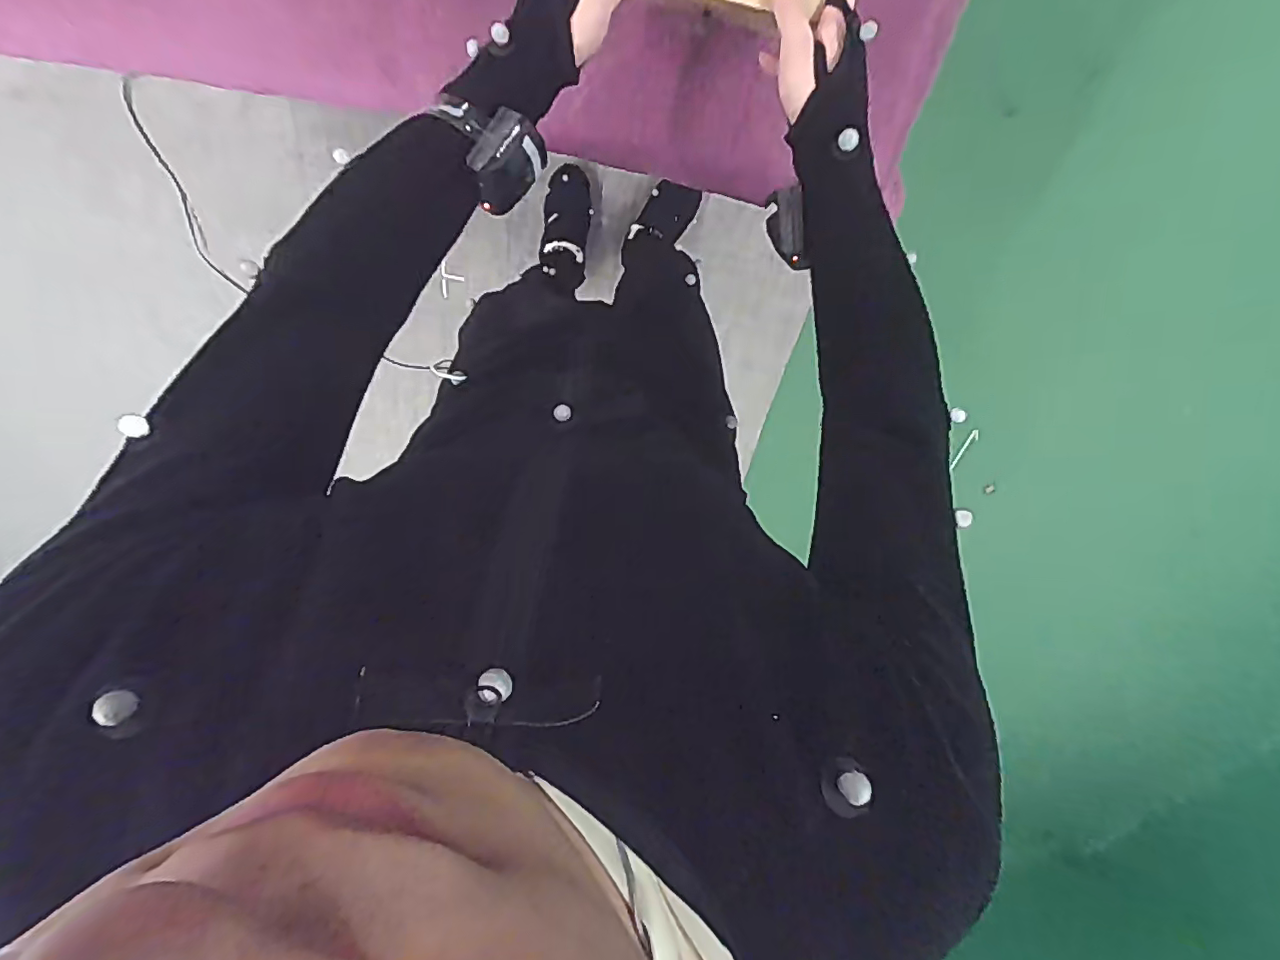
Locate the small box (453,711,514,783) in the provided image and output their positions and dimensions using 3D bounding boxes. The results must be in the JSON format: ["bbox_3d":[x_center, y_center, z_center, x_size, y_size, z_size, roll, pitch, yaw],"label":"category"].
[{"bbox_3d":[-0.559,0.954,1.937,0.179,0.176,0.168,11,125,-4],"label":"small box"}]

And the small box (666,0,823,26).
[{"bbox_3d":[0.076,-0.499,0.445,0.179,0.176,0.168,10,127,-7],"label":"small box"}]
